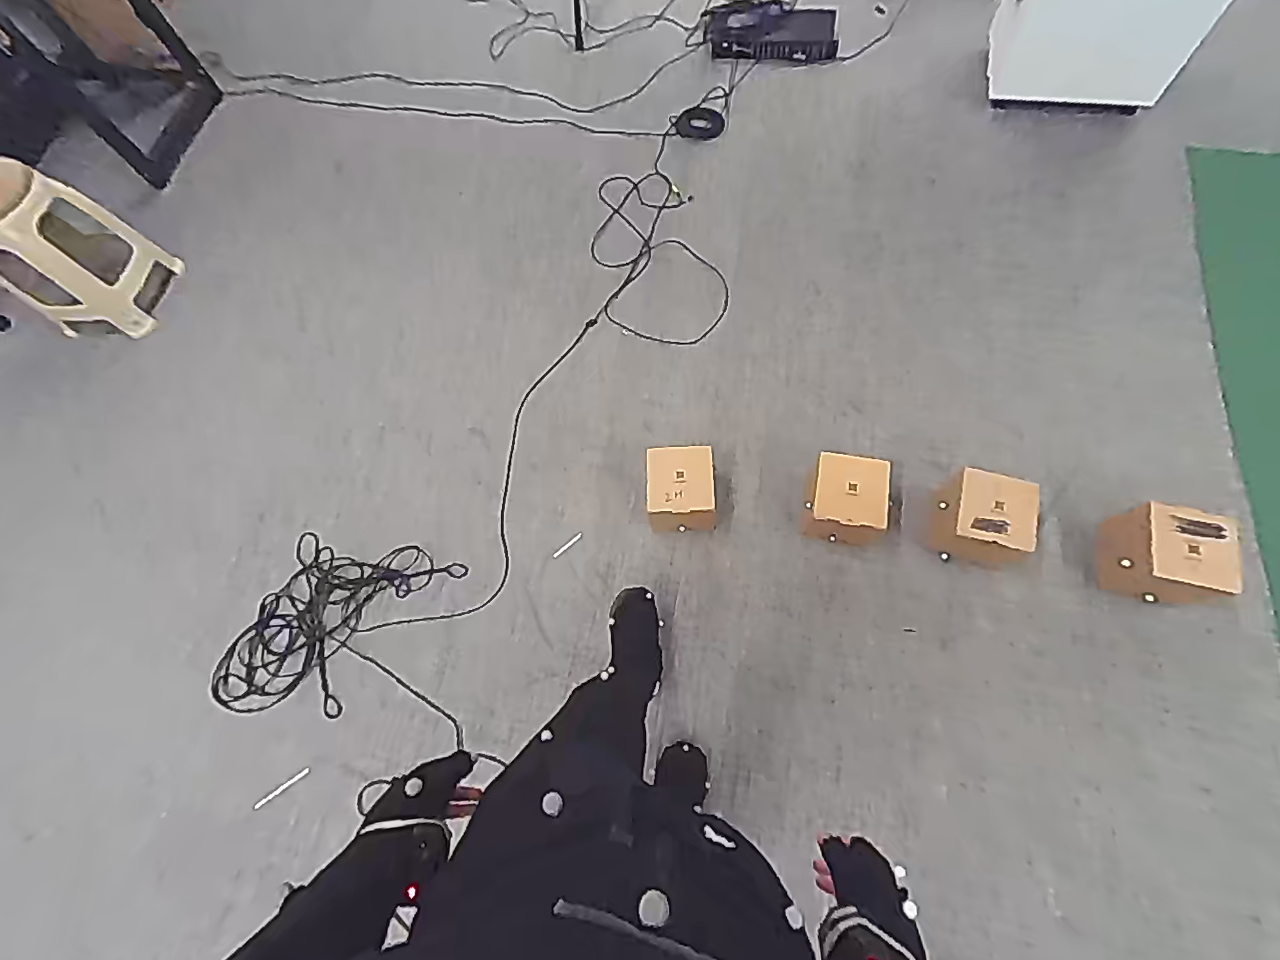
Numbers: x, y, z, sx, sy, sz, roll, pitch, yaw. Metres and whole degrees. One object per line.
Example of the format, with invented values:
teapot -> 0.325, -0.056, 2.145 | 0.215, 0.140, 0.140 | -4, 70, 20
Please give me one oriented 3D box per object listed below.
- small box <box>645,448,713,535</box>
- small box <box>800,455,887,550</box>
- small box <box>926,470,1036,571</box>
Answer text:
small box -> 0.101, 0.034, 1.403 | 0.168, 0.176, 0.179 | -2, 67, 6
small box -> 0.503, 0.060, 1.350 | 0.168, 0.176, 0.179 | 9, 69, 10
small box -> 0.810, 0.103, 1.298 | 0.168, 0.176, 0.179 | 15, 69, 11
